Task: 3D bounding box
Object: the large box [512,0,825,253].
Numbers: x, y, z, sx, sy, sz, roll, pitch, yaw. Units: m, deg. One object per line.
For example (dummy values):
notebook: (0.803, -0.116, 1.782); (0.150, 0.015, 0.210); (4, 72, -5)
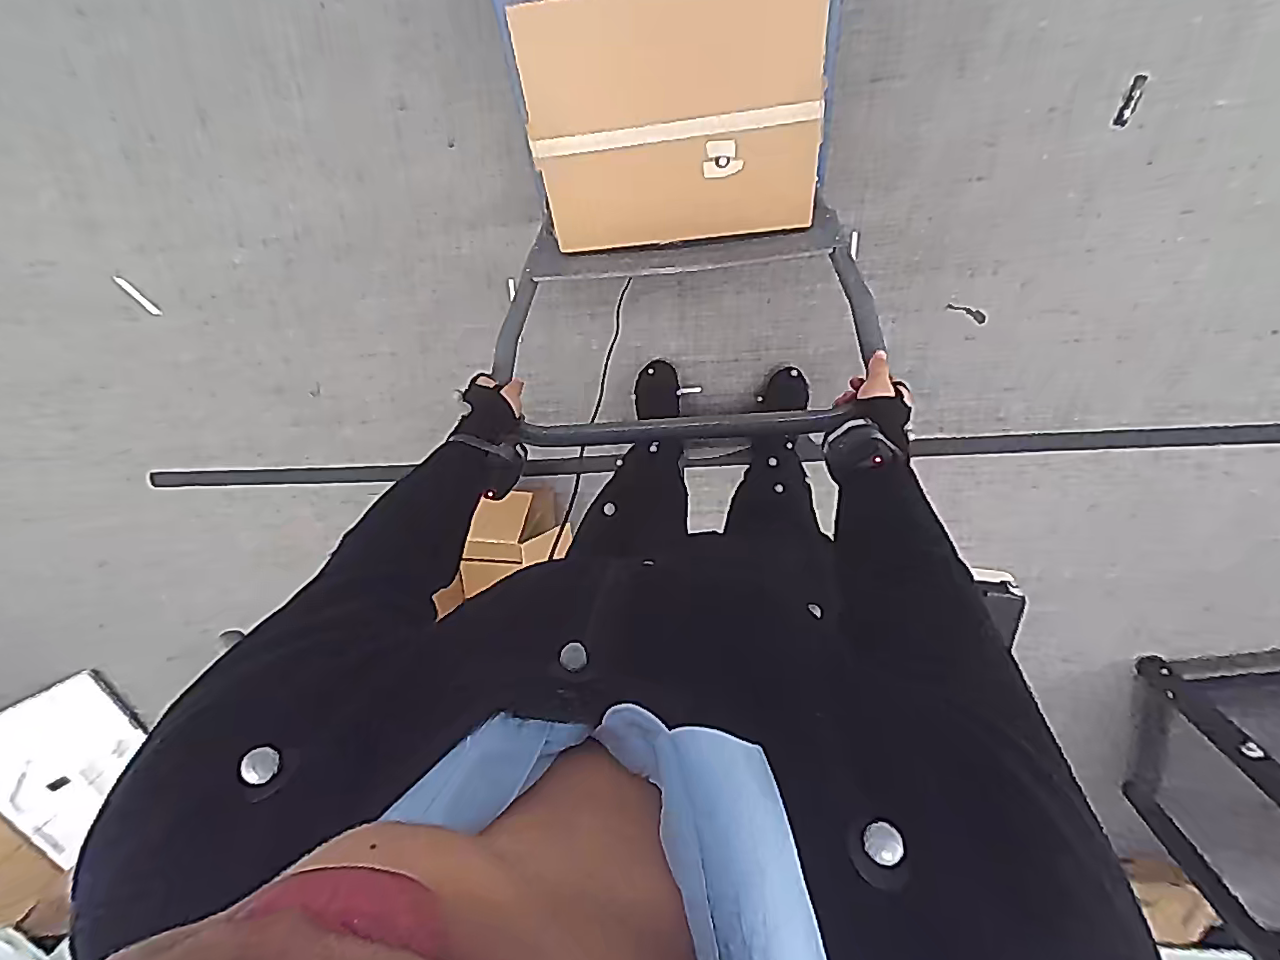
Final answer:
large box: (0.054, -0.604, 0.877); (0.408, 0.320, 0.320); (-4, 135, 7)
